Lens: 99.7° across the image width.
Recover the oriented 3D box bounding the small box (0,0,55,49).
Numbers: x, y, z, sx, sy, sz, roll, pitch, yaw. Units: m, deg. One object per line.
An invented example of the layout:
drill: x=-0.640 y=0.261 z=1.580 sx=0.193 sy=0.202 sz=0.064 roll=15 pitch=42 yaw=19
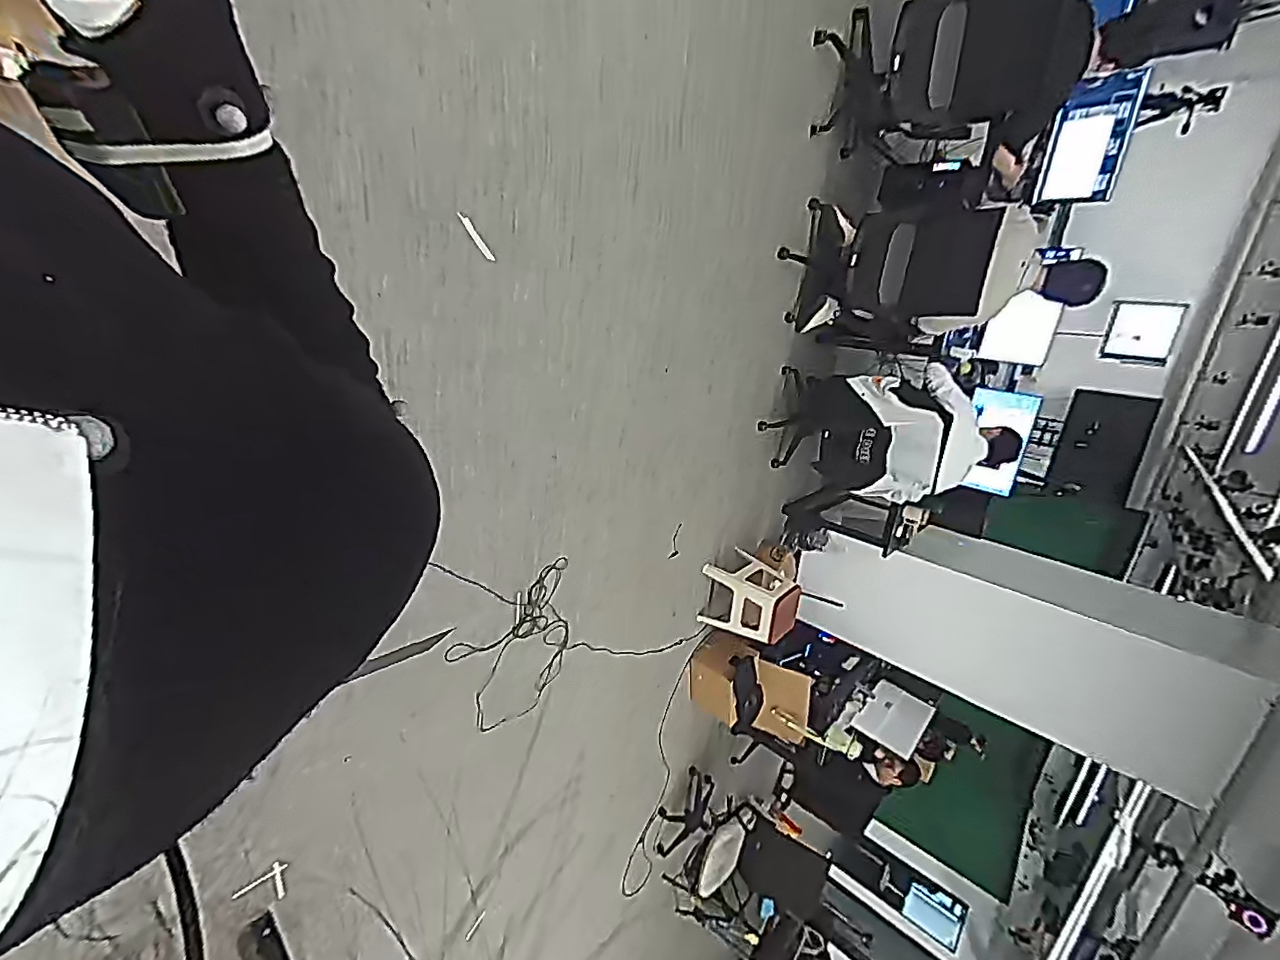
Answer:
small box: x=-0.689 y=-0.536 z=0.499 sx=0.179 sy=0.176 sz=0.168 roll=-11 pitch=115 yaw=-50

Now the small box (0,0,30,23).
small box: x=-0.575 y=-0.485 z=0.390 sx=0.168 sy=0.176 sz=0.179 roll=-6 pitch=112 yaw=-53
